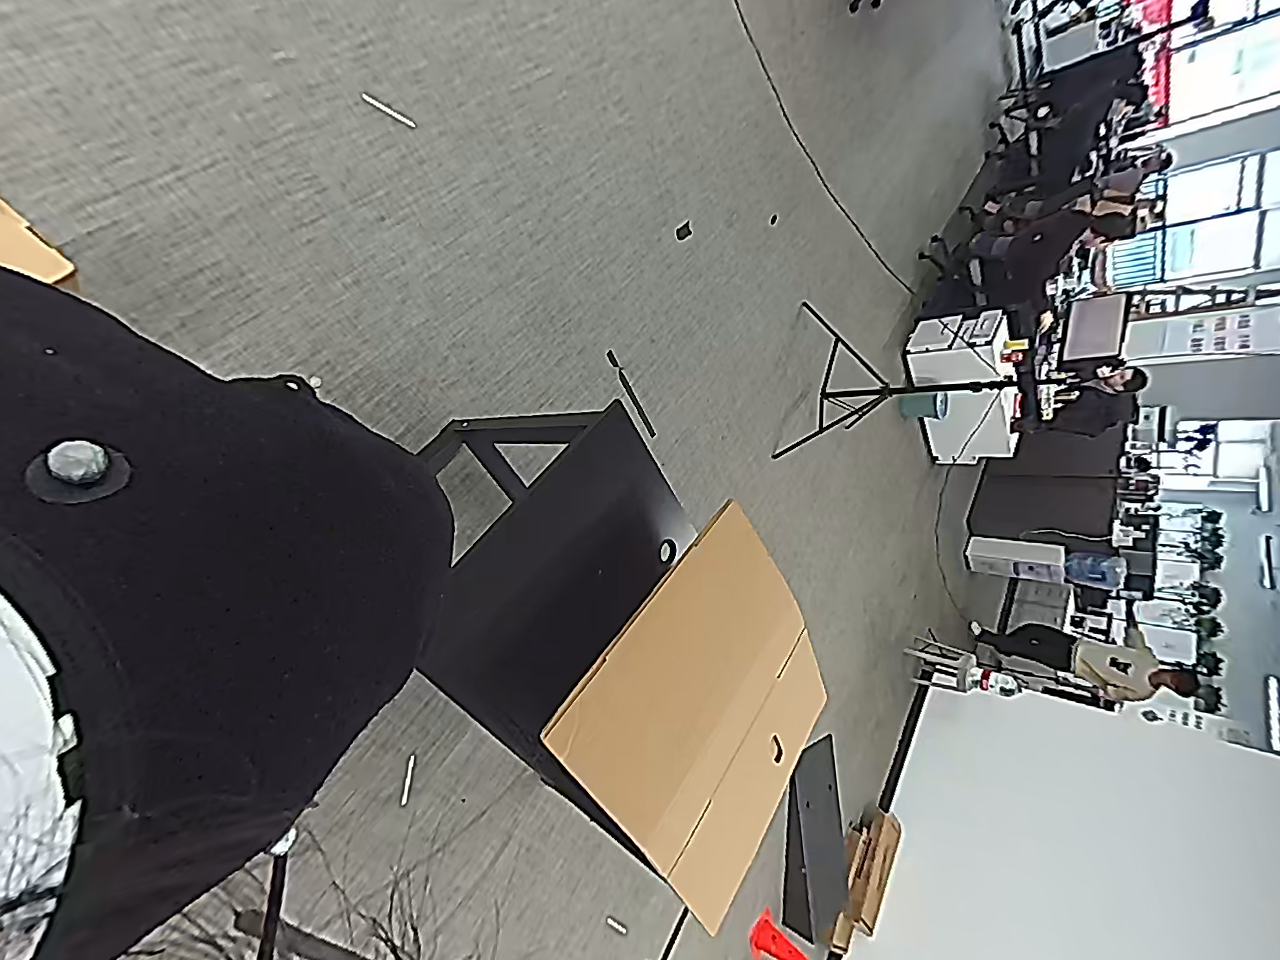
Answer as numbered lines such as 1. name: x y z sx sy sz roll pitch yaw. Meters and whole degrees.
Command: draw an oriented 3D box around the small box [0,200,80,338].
1. small box: -0.894 -0.281 0.698 0.168 0.176 0.179 53 57 -33
